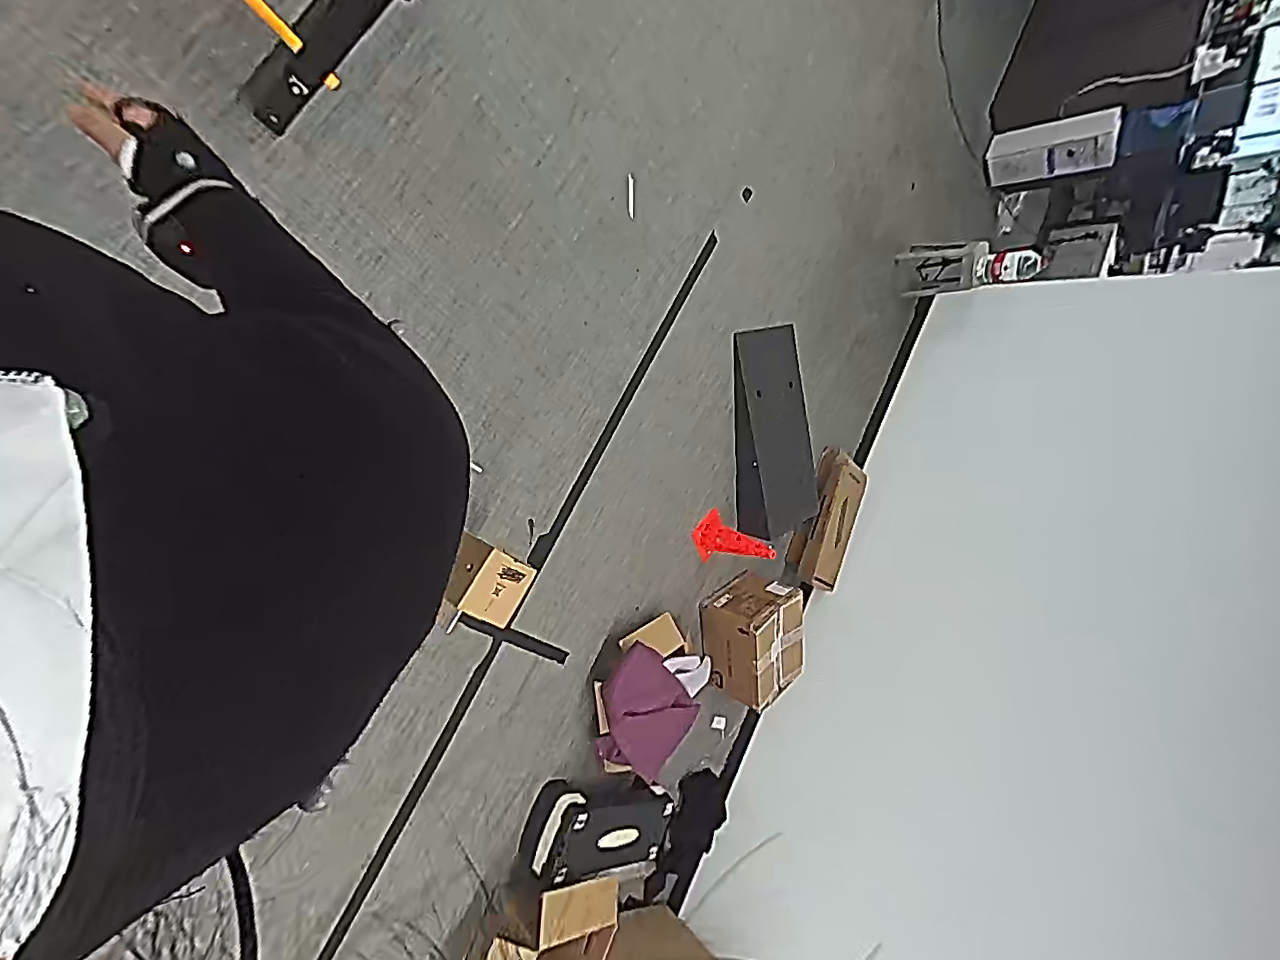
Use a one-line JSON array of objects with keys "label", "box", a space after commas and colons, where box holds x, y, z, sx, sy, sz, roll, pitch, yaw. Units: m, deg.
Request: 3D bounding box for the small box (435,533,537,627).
[{"label": "small box", "box": [-0.419, 0.263, 1.457, 0.168, 0.176, 0.179, 42, 71, -43]}]
